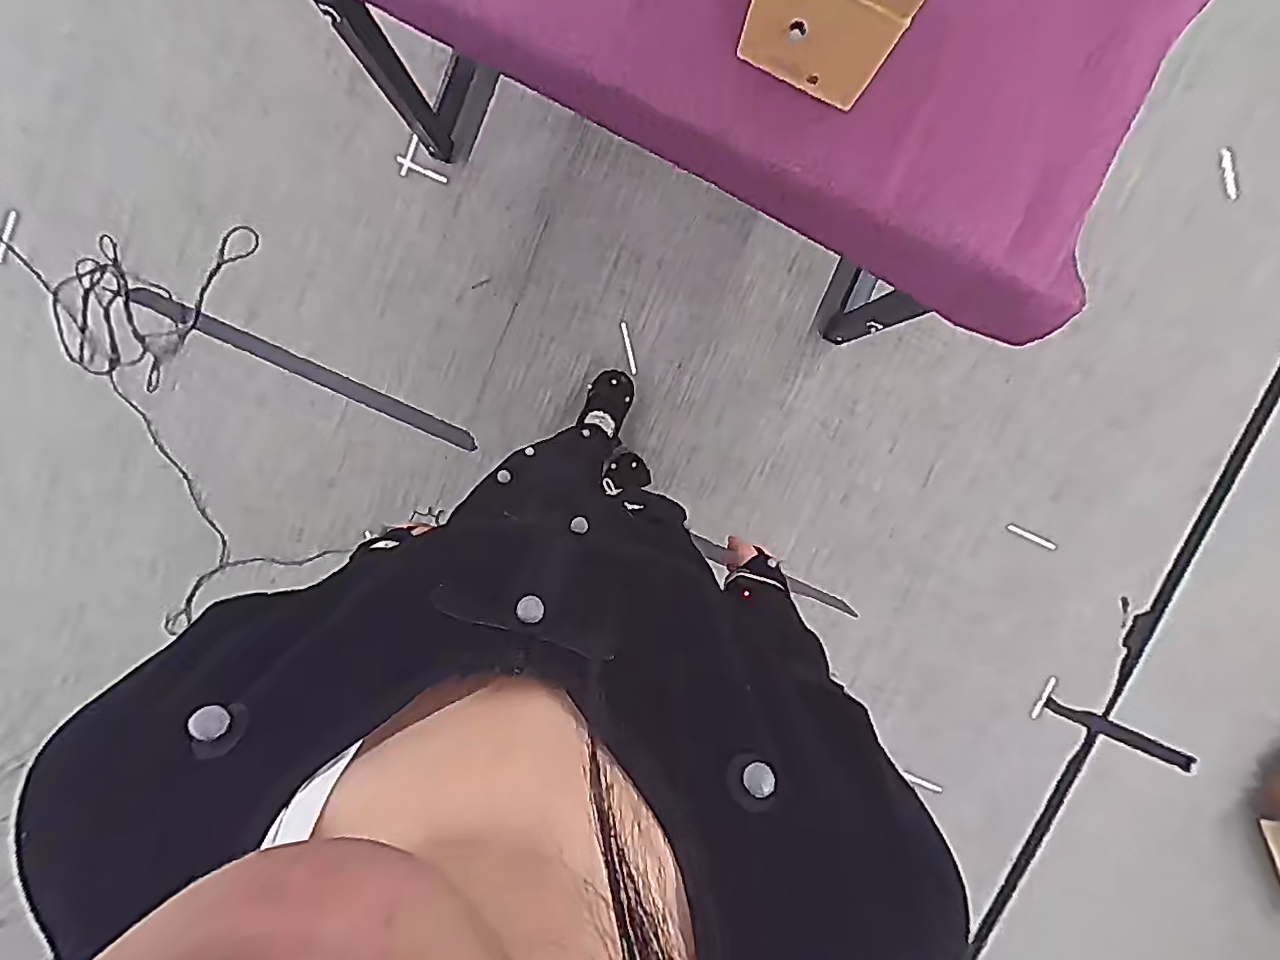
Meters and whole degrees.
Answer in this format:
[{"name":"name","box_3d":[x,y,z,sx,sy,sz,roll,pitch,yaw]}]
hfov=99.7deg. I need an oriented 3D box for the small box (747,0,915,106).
[{"name":"small box","box_3d":[0.239,-0.590,0.630,0.168,0.176,0.179,24,95,-4]}]
